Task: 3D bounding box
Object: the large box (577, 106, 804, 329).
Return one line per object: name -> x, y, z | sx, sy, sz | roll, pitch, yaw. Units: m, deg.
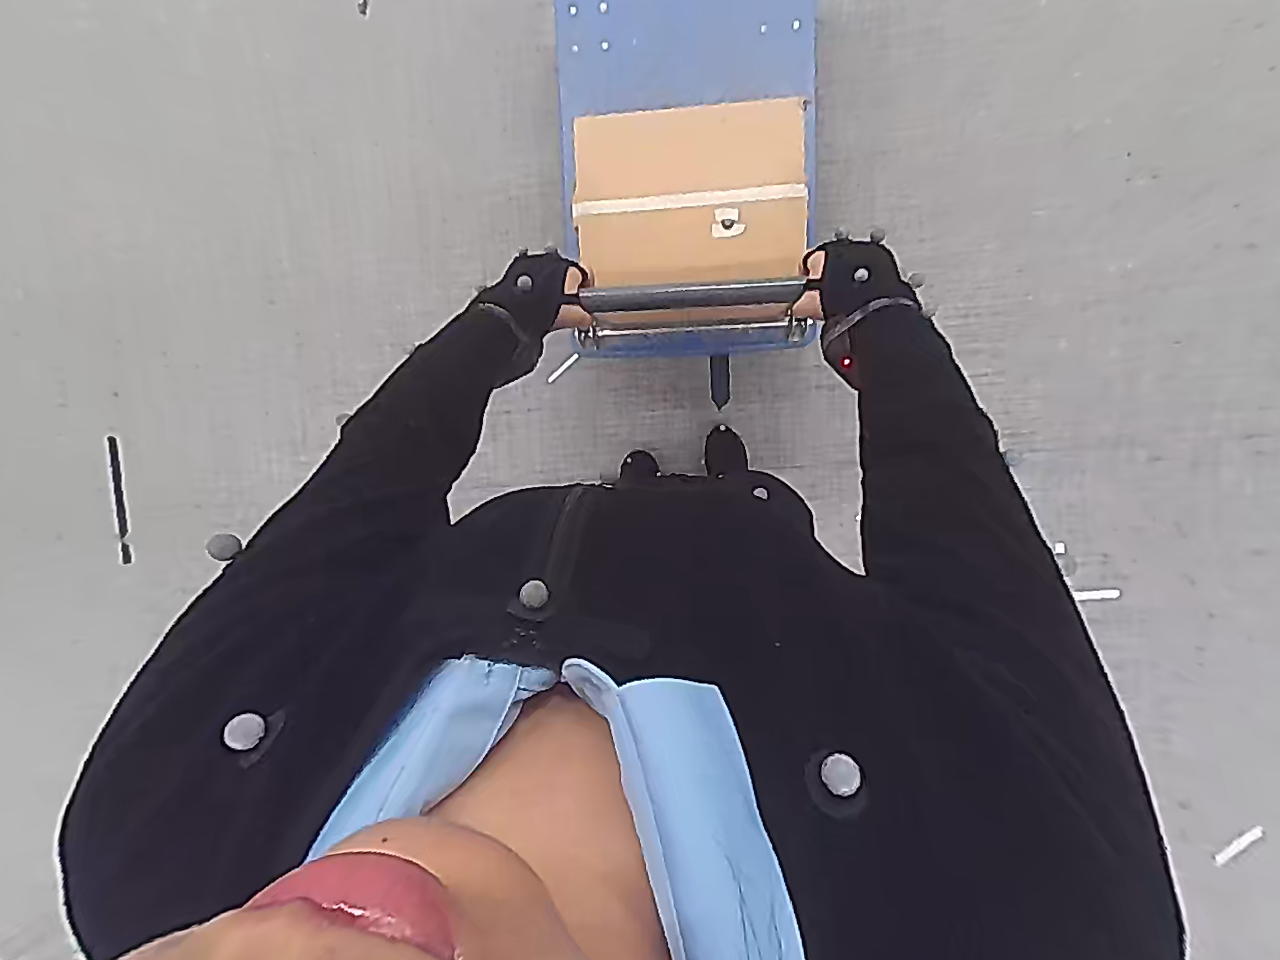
large box -> 0.101, -0.509, 1.124 | 0.408, 0.320, 0.320 | -2, 96, 5
